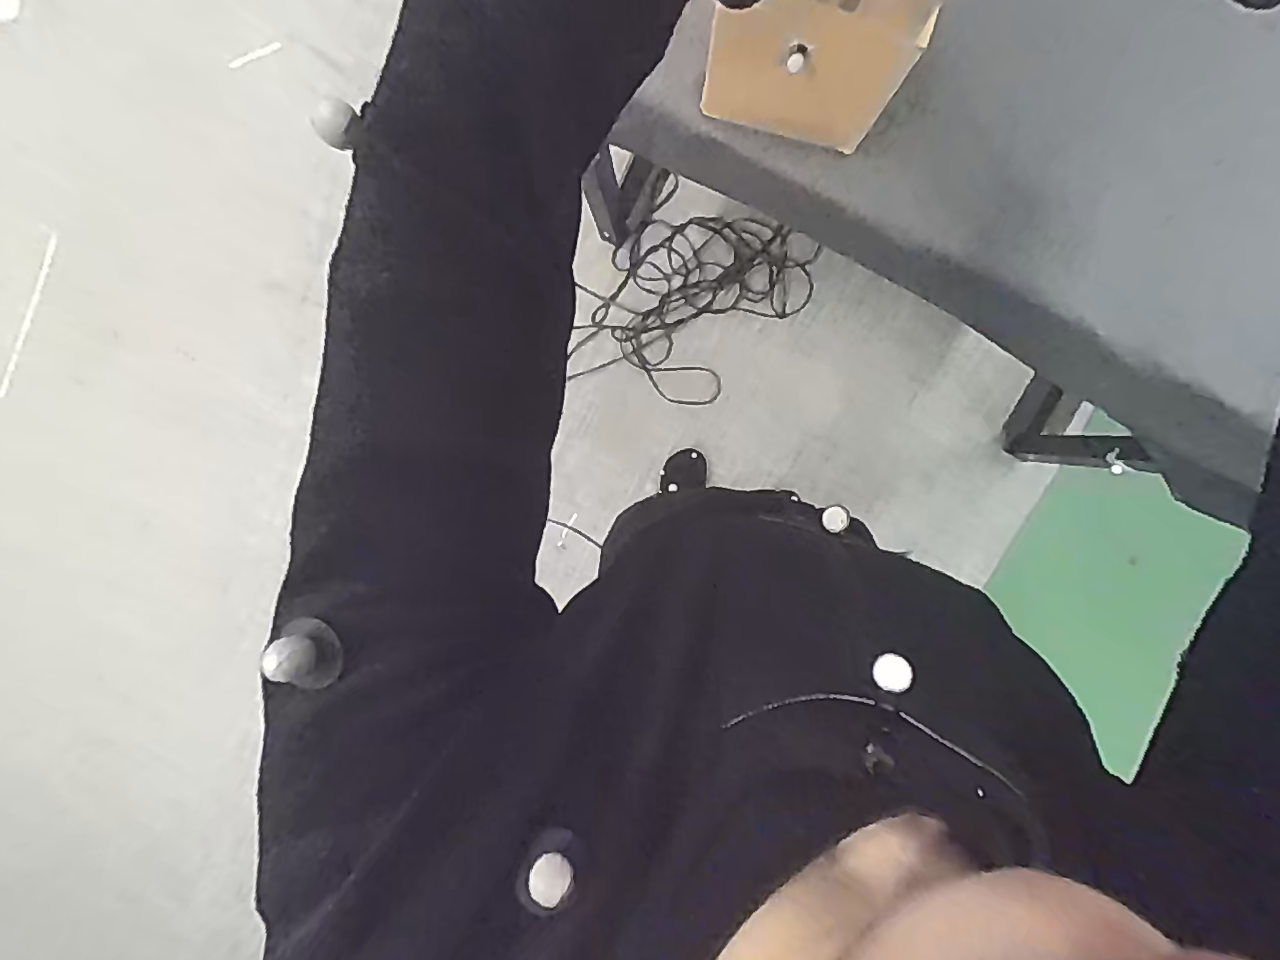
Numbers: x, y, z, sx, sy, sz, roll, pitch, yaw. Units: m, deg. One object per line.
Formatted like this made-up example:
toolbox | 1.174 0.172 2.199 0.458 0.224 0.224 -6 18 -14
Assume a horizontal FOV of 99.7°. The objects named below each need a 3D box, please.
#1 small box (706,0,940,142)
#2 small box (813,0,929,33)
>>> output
small box | 0.170 -0.452 0.502 0.179 0.176 0.168 16 96 2
small box | 0.158 -0.444 0.340 0.168 0.176 0.179 19 95 1
